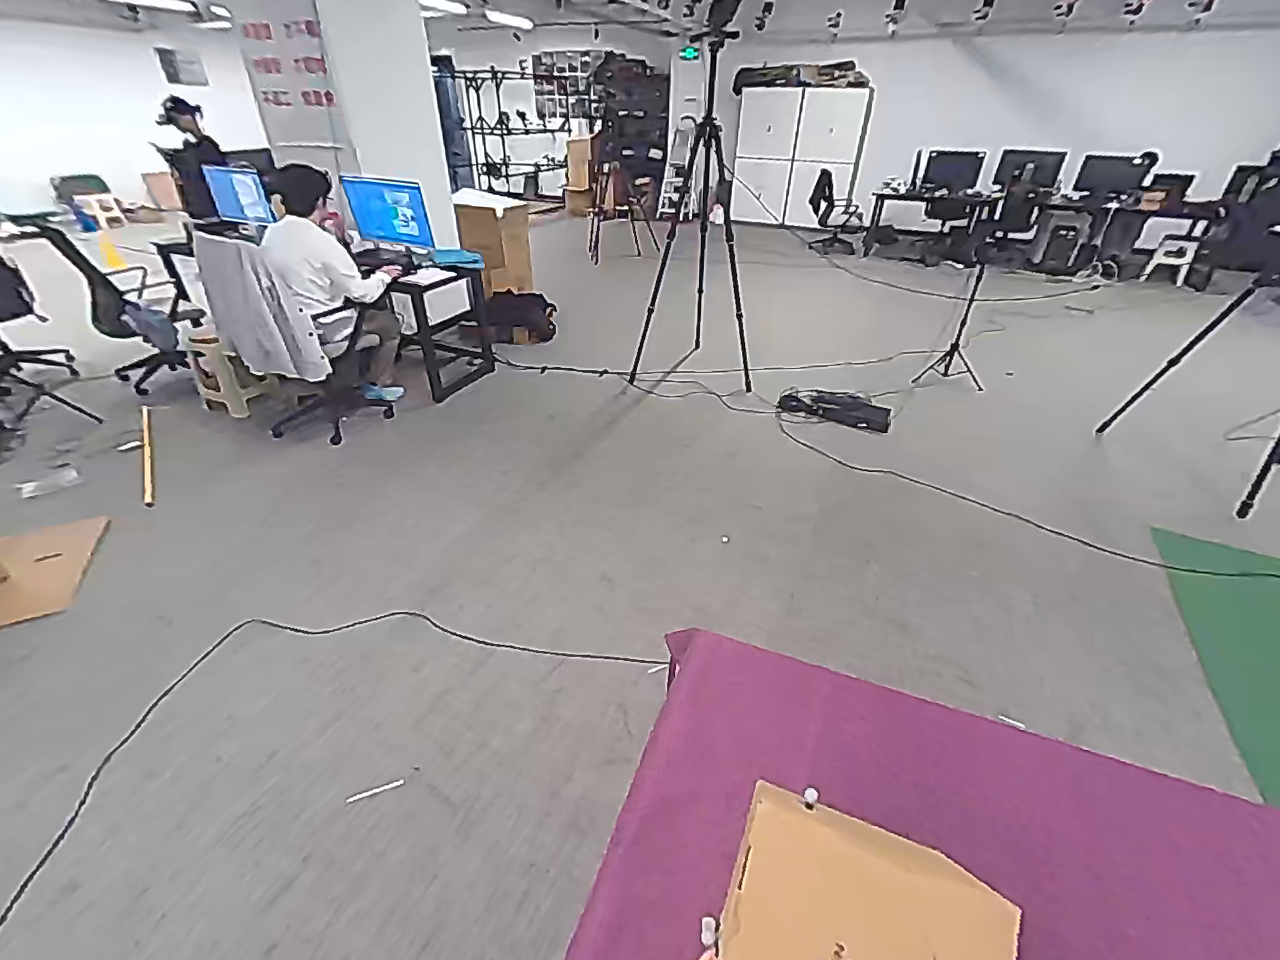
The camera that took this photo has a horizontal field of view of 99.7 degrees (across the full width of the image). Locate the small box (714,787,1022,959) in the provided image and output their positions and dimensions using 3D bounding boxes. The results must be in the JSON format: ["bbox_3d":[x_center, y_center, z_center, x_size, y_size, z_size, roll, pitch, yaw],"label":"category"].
[{"bbox_3d":[0.157,0.361,0.422,0.179,0.176,0.168,14,71,18],"label":"small box"}]
